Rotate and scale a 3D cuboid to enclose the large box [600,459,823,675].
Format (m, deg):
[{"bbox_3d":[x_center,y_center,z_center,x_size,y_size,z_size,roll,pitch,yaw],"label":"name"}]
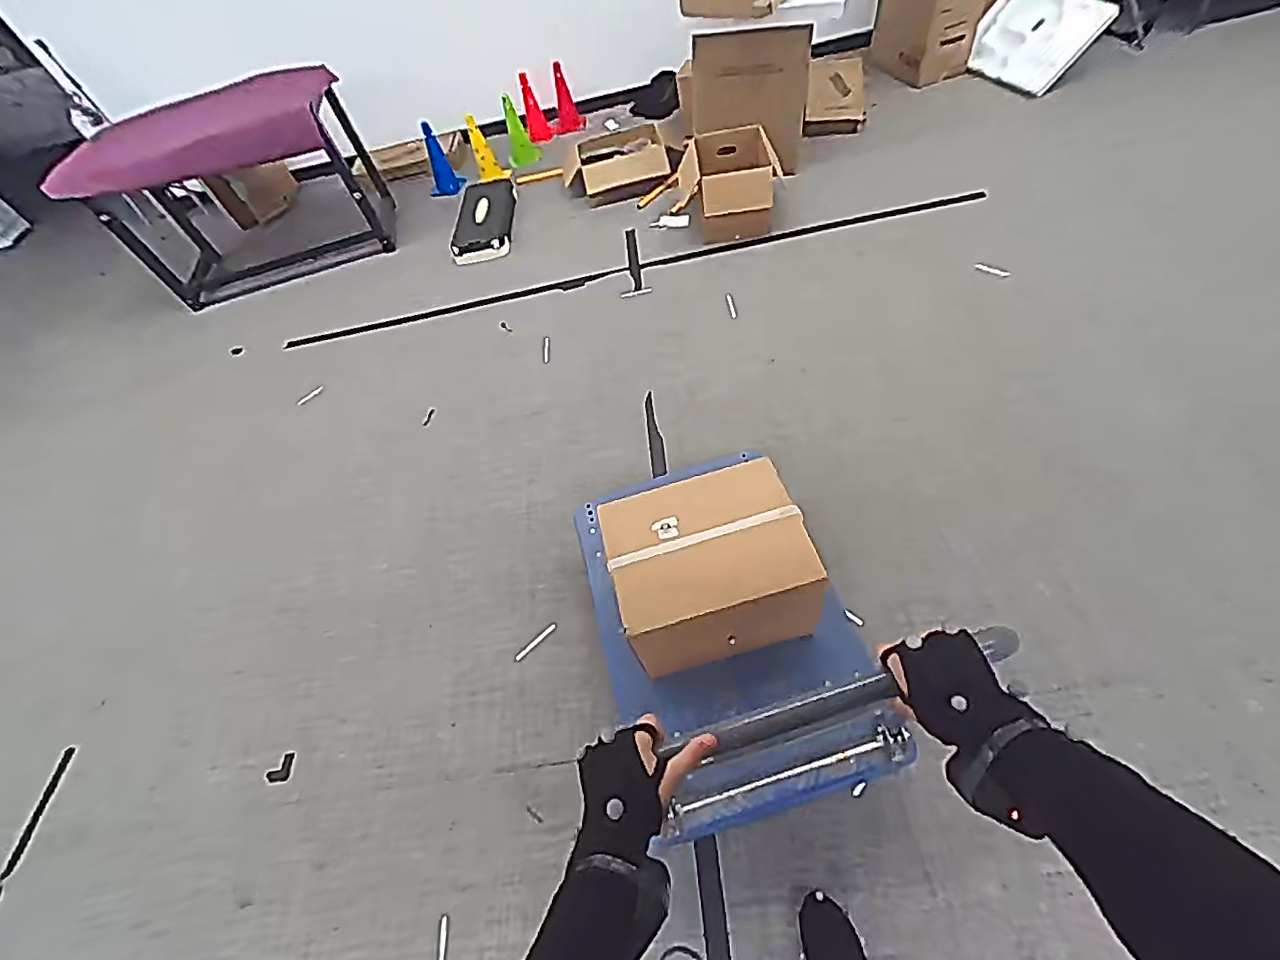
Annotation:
[{"bbox_3d":[0.160,0.211,1.254,0.408,0.320,0.320,-17,53,0],"label":"large box"}]
